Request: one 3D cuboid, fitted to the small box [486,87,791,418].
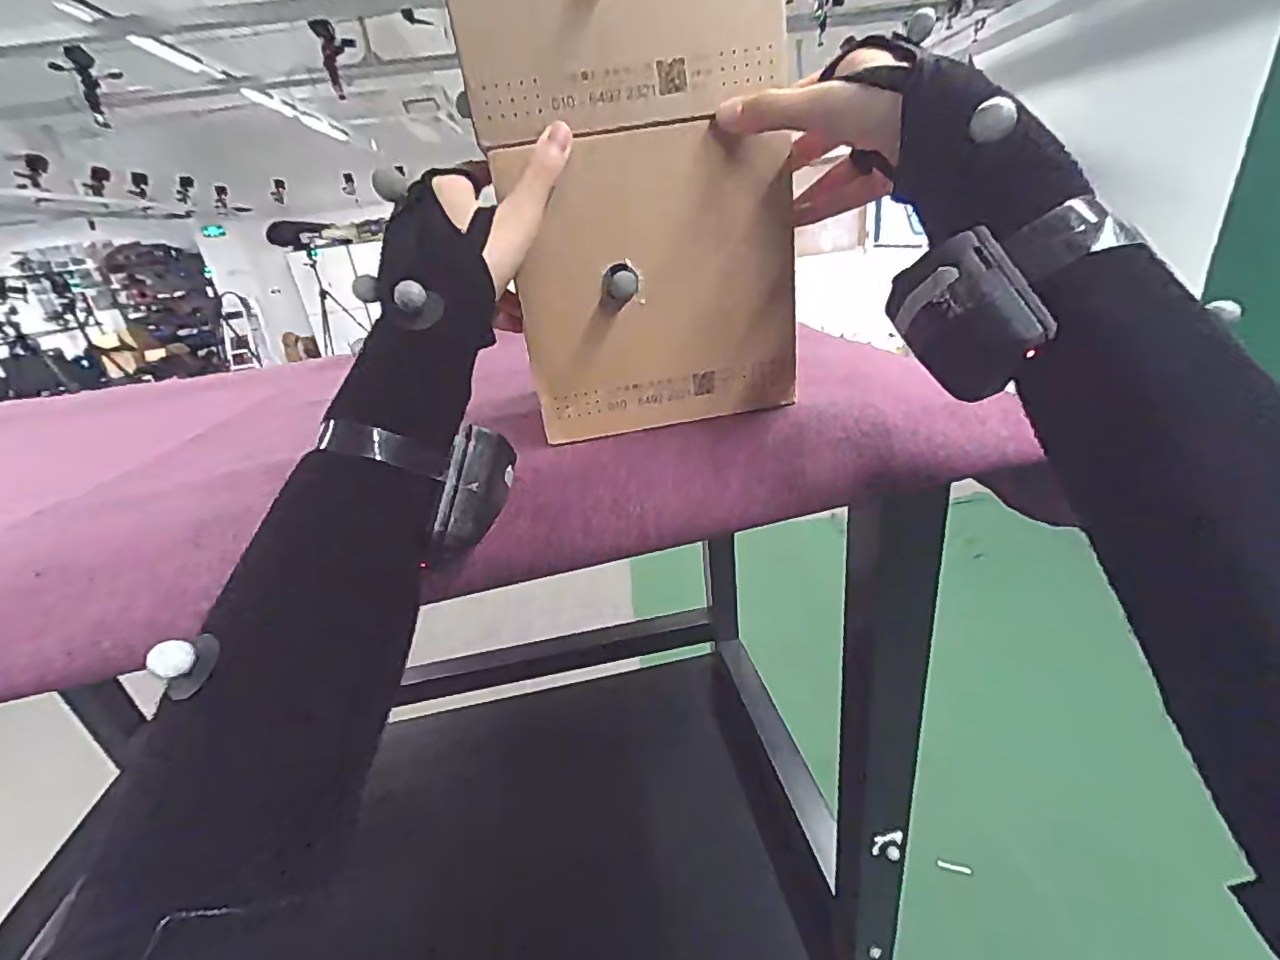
[{"bbox_3d":[0.002,-0.150,0.389,0.168,0.176,0.179,-10,24,-3],"label":"small box"}]

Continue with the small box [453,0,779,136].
[{"bbox_3d":[-0.022,-0.298,0.323,0.168,0.176,0.179,-9,25,-2],"label":"small box"}]
